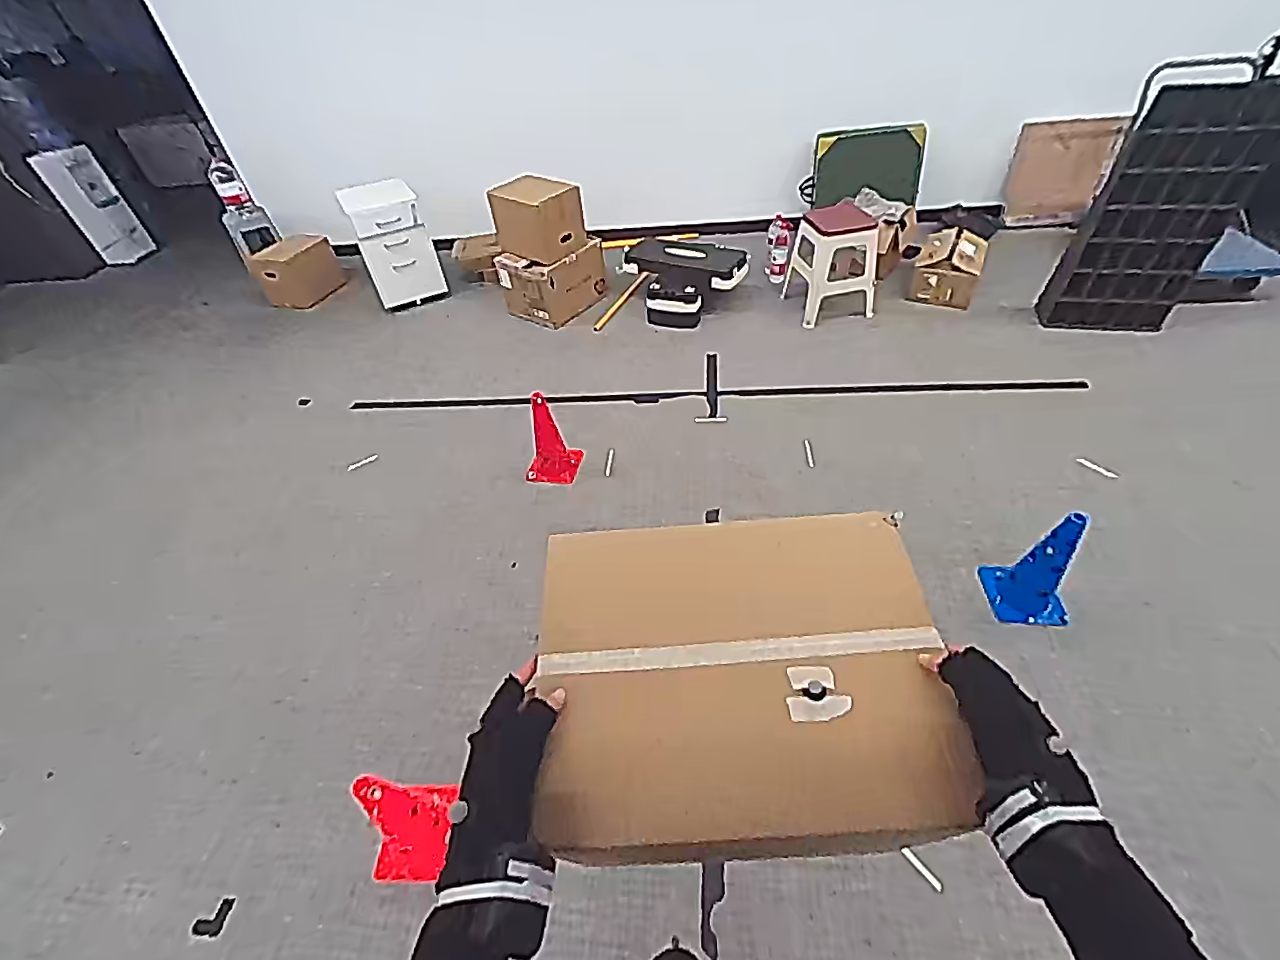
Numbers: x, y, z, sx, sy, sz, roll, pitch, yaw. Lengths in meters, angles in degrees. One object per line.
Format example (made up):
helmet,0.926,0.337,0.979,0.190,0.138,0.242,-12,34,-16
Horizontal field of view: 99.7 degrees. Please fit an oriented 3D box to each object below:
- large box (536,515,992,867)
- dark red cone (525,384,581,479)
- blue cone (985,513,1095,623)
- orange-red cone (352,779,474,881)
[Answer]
large box,0.106,0.269,0.671,0.408,0.320,0.320,-4,52,1
dark red cone,-0.362,-0.196,2.084,0.201,0.394,0.202,5,46,10
blue cone,1.152,0.230,1.521,0.192,0.380,0.193,3,45,8
orange-red cone,-0.533,0.735,1.192,0.198,0.360,0.199,-3,46,6
